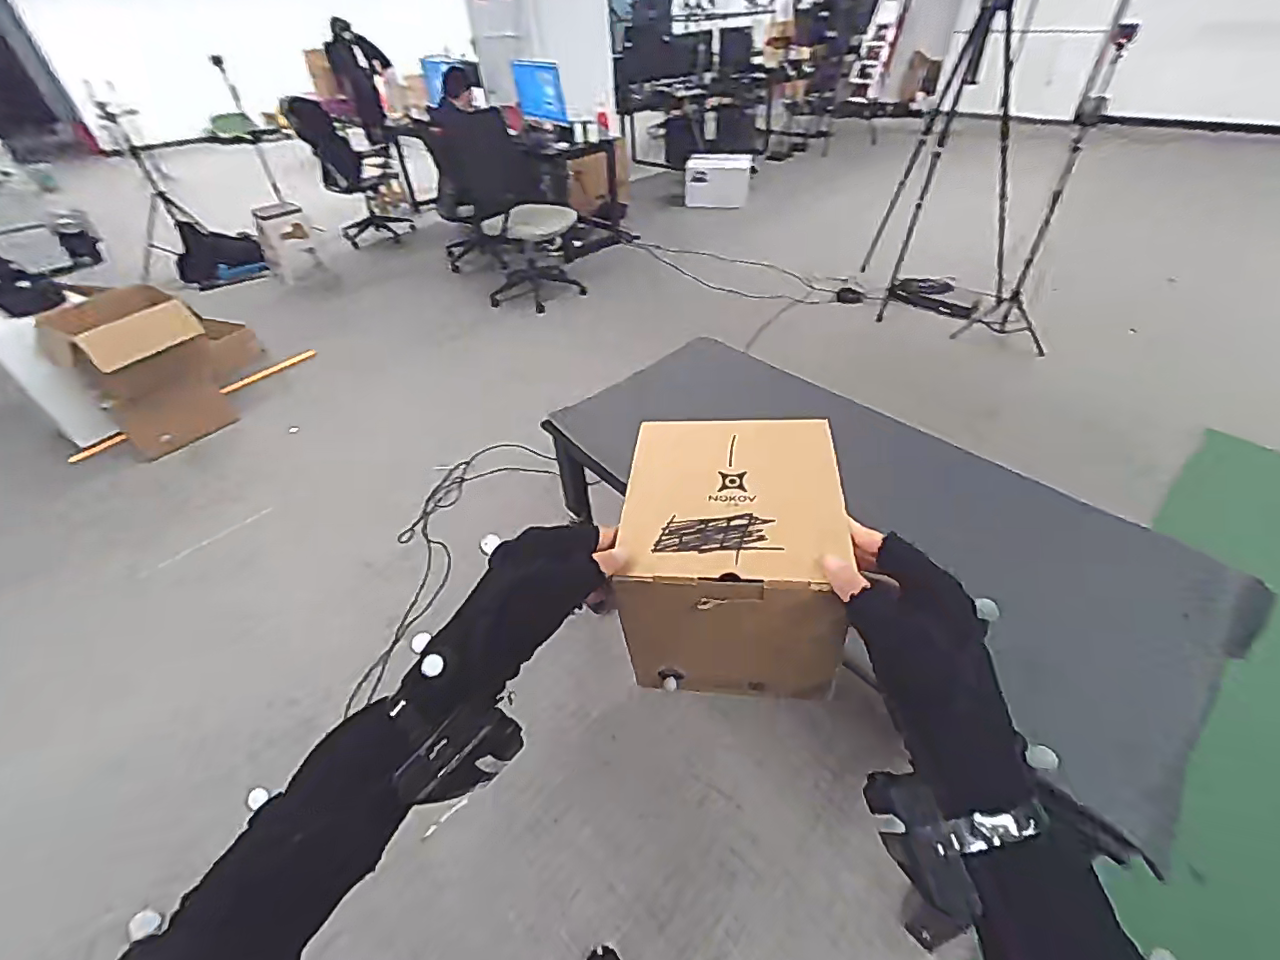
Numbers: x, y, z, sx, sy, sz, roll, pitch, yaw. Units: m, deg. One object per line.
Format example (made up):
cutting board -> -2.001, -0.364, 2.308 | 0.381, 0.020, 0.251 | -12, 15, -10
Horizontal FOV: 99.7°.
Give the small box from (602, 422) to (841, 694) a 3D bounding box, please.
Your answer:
small box -> 0.073, 0.069, 0.478 | 0.168, 0.176, 0.179 | 0, 43, 10
